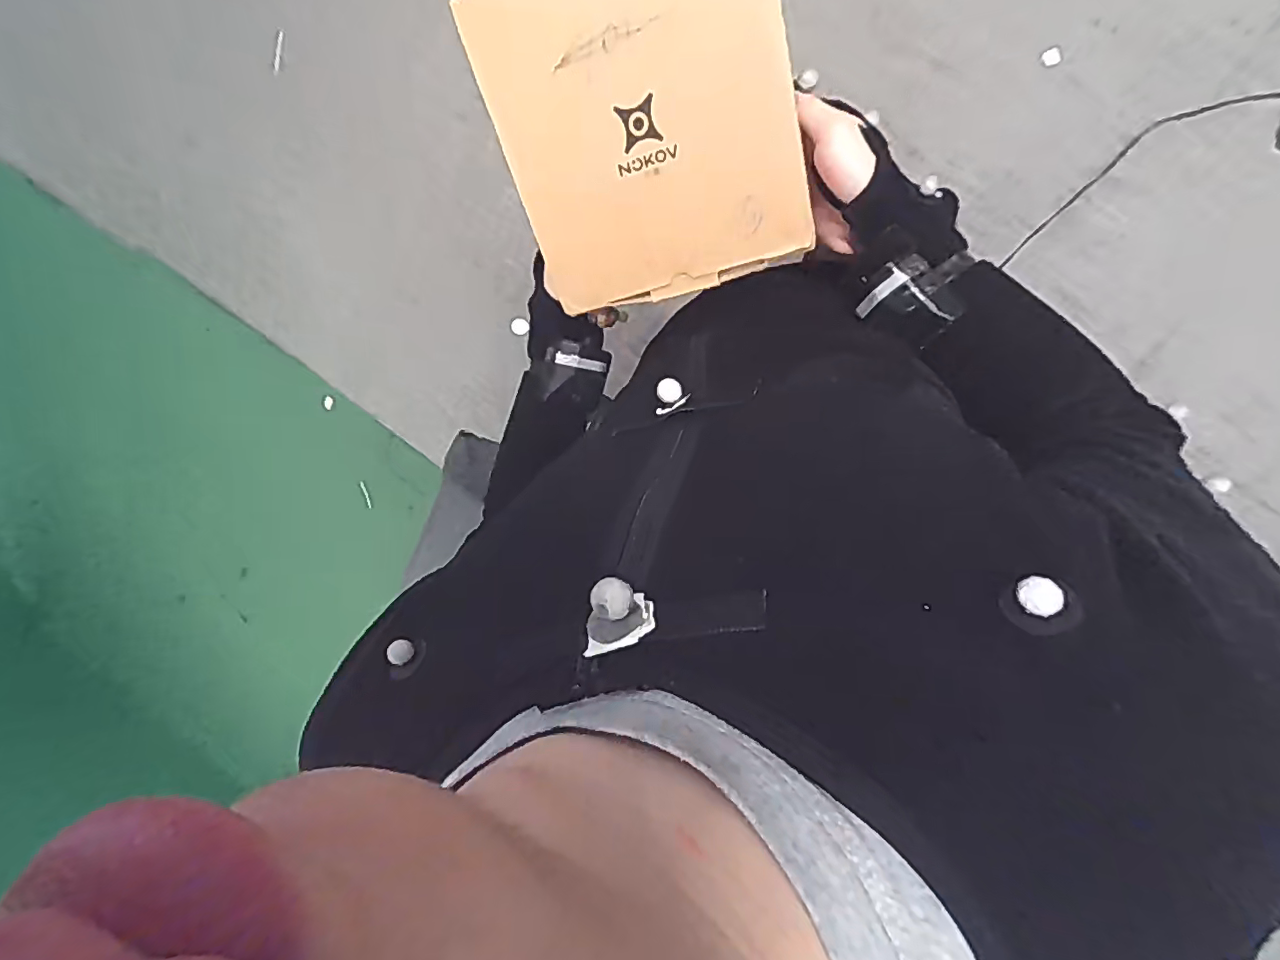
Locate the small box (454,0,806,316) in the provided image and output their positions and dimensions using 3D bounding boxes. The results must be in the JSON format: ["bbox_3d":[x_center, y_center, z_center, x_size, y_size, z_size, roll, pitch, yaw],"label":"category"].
[{"bbox_3d":[0.016,-0.236,0.368,0.168,0.176,0.179,-9,119,18],"label":"small box"}]
